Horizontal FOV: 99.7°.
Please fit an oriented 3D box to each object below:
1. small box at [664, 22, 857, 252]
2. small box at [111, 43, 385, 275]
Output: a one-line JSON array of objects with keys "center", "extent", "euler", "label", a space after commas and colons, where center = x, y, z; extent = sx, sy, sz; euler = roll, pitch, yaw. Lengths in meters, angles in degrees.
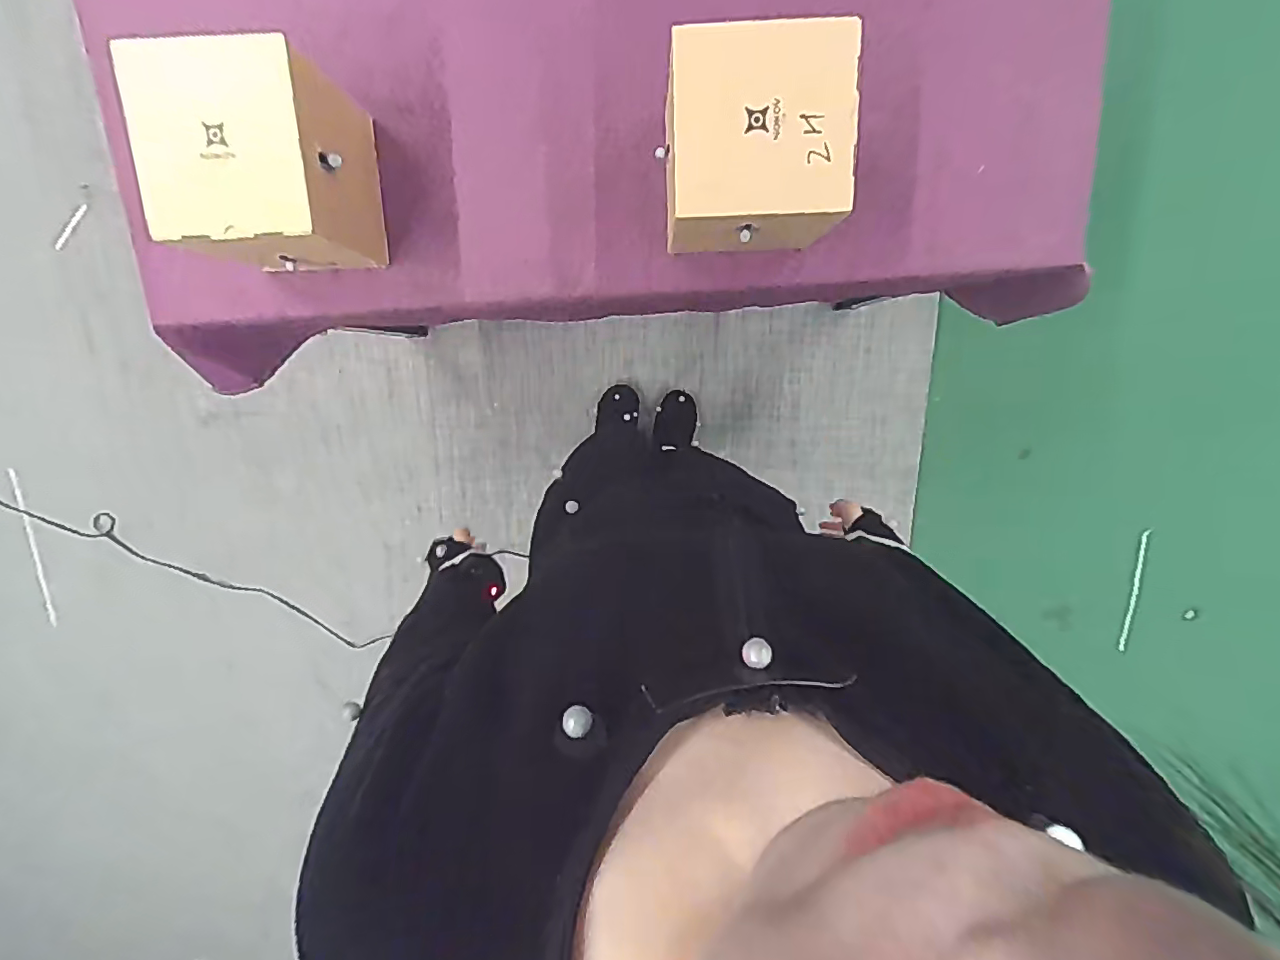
[{"center": [0.115, -0.352, 0.589], "extent": [0.179, 0.176, 0.168], "euler": [-2, 102, 1], "label": "small box"}, {"center": [-0.406, -0.334, 0.596], "extent": [0.168, 0.176, 0.179], "euler": [-2, 103, 0], "label": "small box"}]
